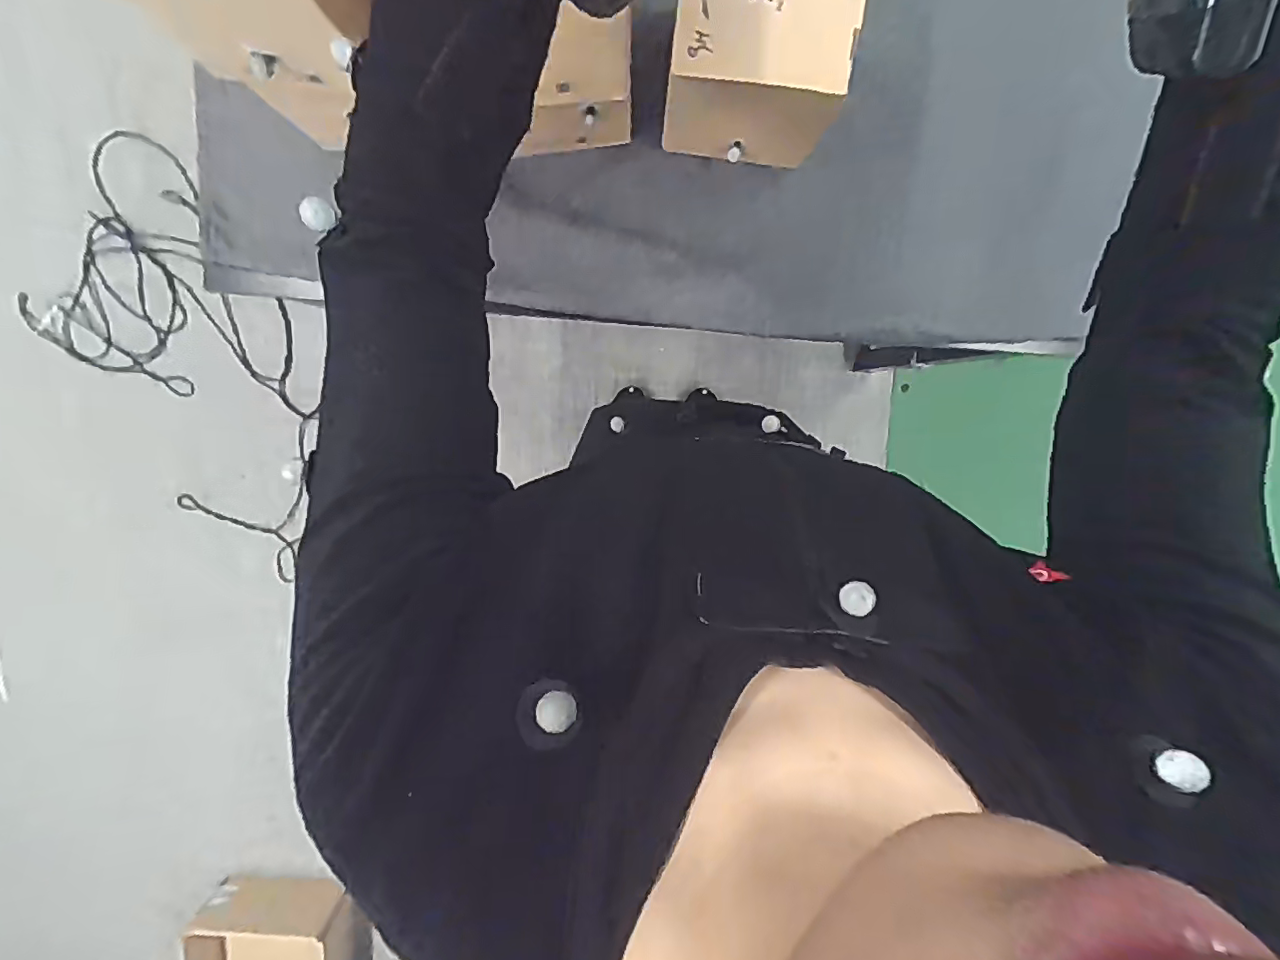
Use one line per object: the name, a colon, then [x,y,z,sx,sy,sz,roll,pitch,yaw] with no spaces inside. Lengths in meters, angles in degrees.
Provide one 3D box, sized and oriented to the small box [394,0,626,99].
small box: [-0.098,-0.434,0.428,0.168,0.176,0.179,-5,98,-1]
